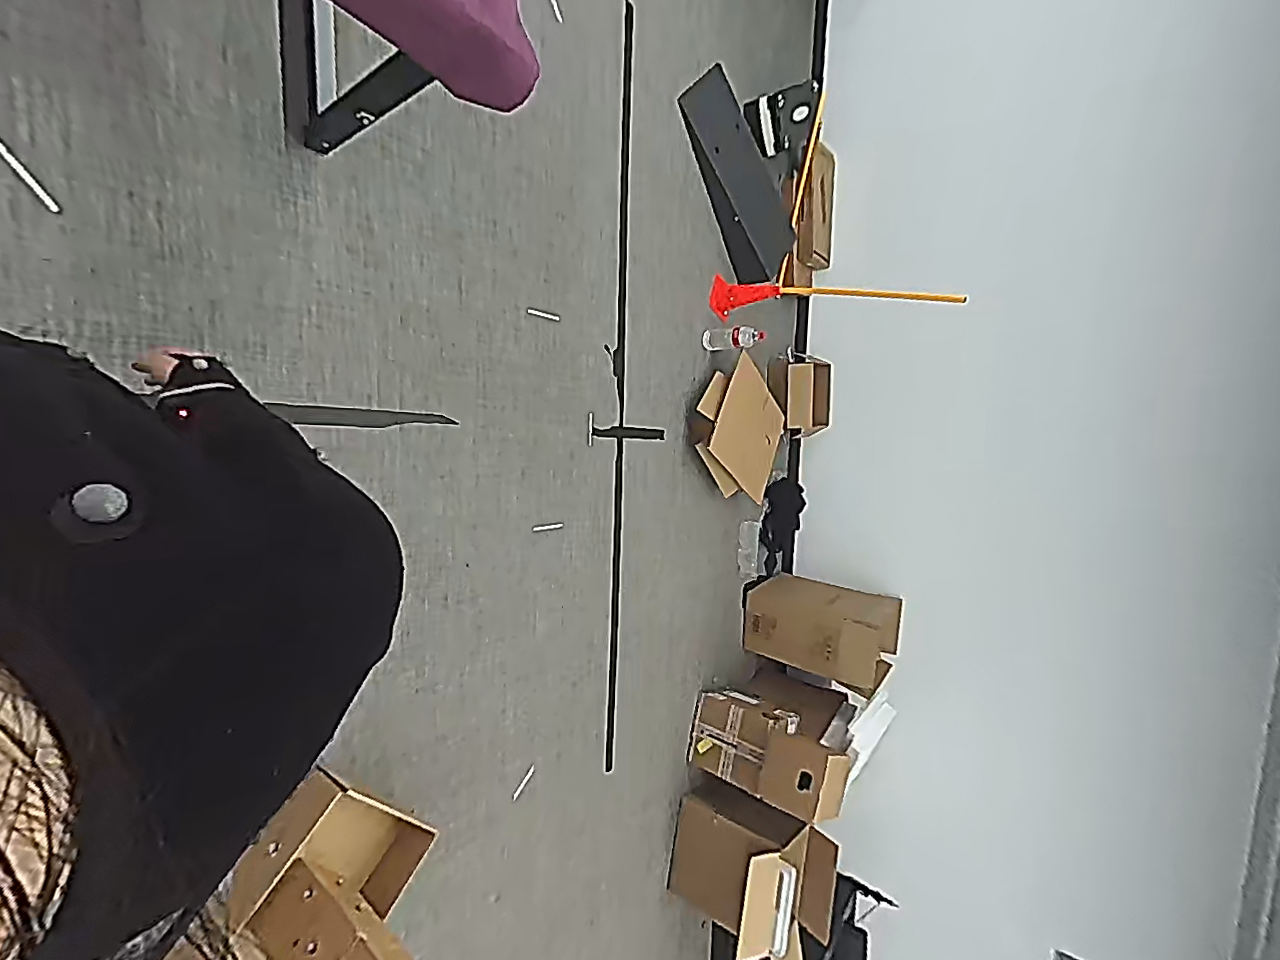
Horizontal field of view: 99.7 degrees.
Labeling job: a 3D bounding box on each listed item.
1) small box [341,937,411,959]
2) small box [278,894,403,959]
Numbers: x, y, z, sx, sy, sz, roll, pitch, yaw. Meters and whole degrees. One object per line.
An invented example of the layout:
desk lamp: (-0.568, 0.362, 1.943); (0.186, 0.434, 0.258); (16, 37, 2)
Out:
small box: (-0.592, 1.166, 1.199); (0.168, 0.176, 0.179); (-54, 134, -32)
small box: (-0.721, 1.140, 1.295); (0.168, 0.176, 0.179); (-53, 134, -33)
